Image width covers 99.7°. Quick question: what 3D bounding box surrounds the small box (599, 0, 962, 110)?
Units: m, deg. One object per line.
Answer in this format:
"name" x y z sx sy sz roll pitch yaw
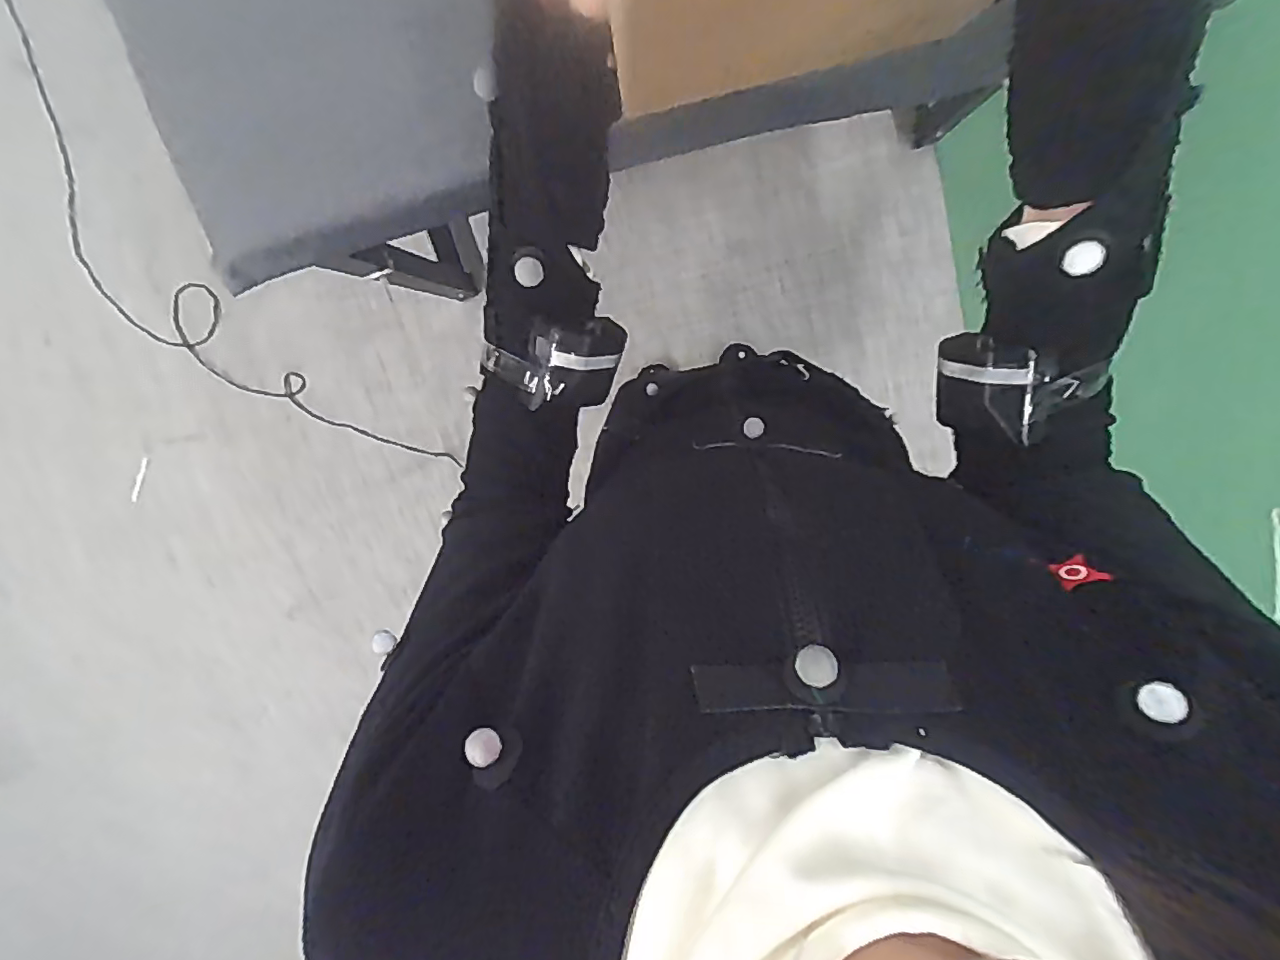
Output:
"small box" 0.059 -0.267 0.186 0.179 0.176 0.168 -13 104 4
